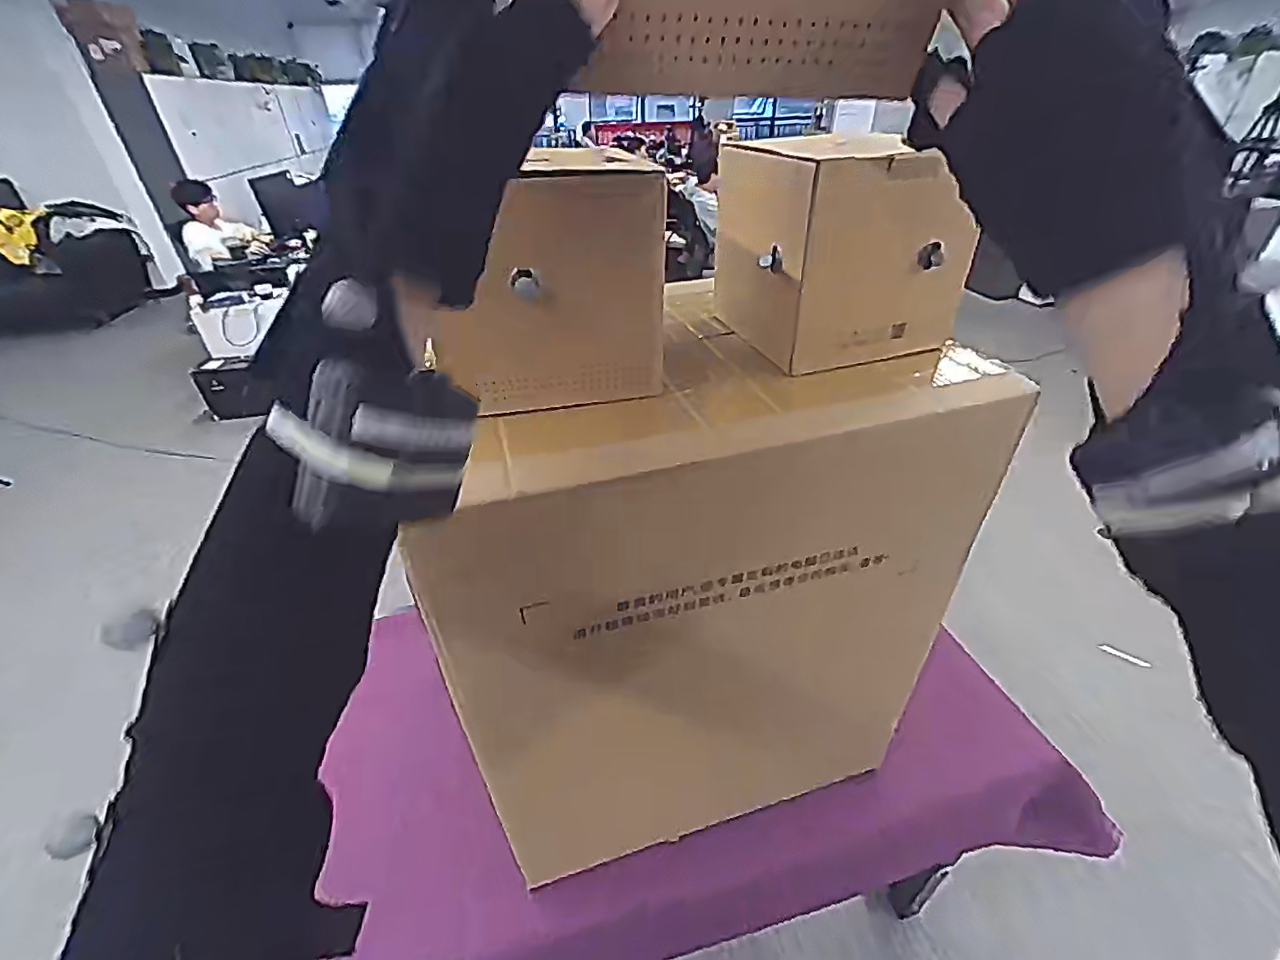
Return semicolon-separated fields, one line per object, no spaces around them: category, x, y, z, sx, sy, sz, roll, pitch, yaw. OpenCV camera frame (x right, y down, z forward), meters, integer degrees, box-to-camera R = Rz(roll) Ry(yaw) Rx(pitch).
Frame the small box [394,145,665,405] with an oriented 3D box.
small box;-0.081;-0.173;0.450;0.179;0.176;0.168;-9;36;-11

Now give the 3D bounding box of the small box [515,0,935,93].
small box;0.034;-0.277;0.213;0.179;0.176;0.168;-8;55;-10

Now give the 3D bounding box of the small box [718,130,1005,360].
small box;0.182;-0.220;0.507;0.168;0.176;0.179;-11;35;-13
